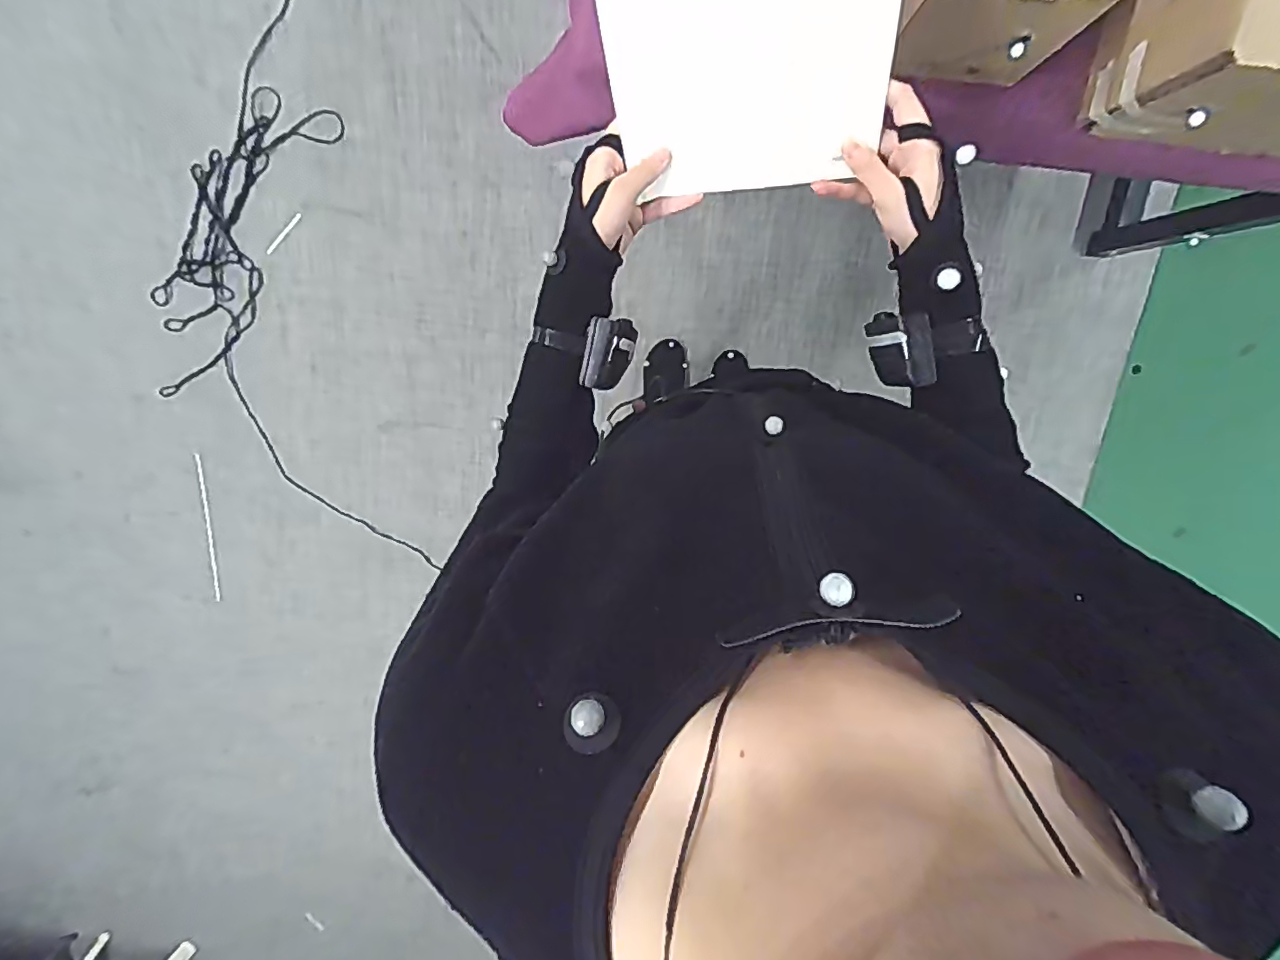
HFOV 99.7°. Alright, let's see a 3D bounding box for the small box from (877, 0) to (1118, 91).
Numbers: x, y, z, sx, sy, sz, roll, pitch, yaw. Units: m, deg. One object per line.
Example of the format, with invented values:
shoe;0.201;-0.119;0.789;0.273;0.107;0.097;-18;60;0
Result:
small box;0.361;-0.531;0.545;0.168;0.176;0.179;7;102;1
